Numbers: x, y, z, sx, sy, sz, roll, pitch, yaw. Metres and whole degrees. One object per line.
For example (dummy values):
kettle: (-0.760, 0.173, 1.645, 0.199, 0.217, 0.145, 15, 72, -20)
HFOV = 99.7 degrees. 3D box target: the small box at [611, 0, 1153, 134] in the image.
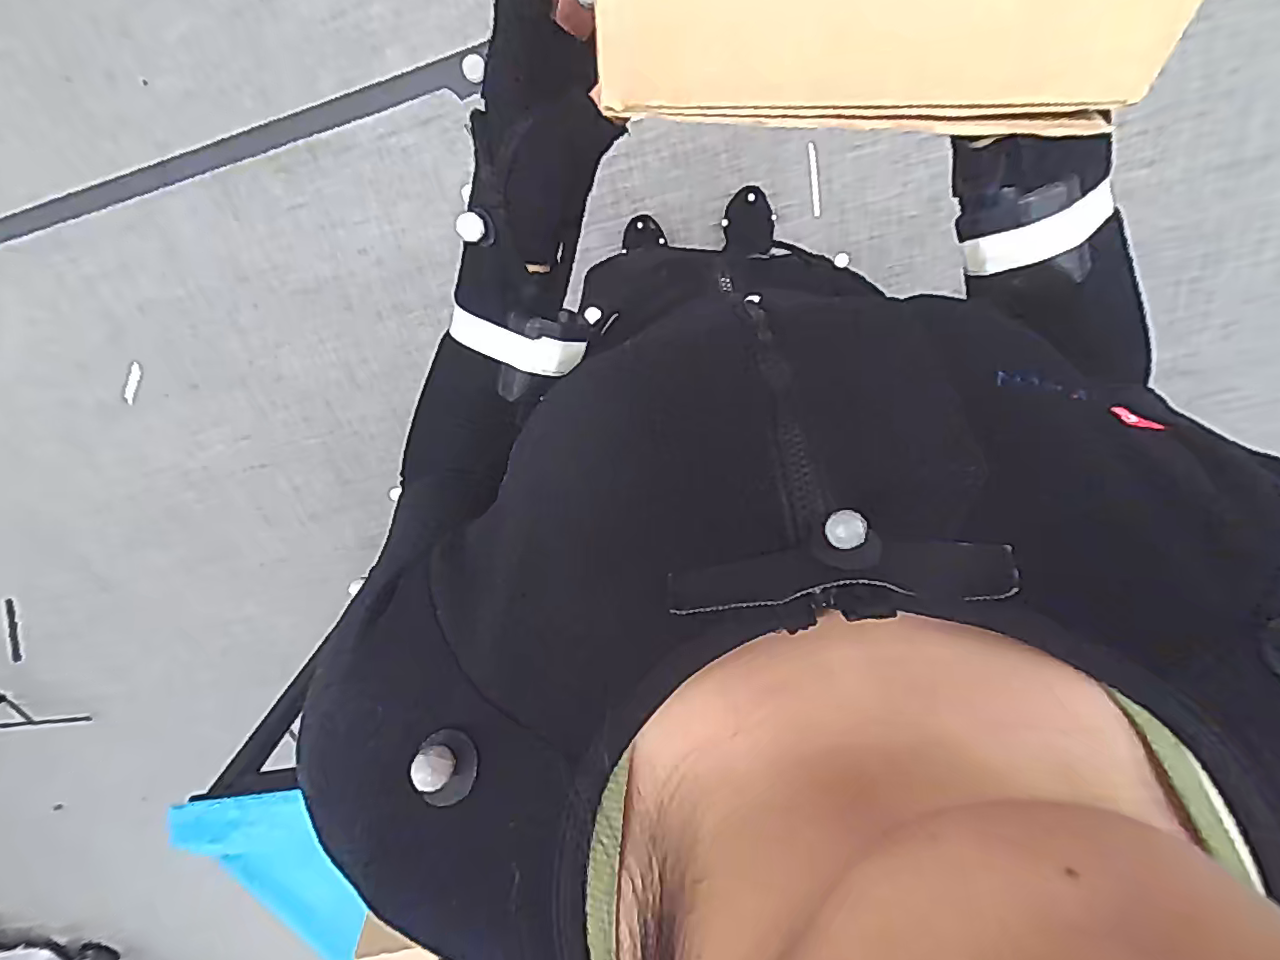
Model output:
small box: (0.075, -0.237, 0.169, 0.179, 0.168, 0.176, 0, 142, 3)

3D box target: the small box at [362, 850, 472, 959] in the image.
small box: (-0.502, 0.988, 1.223, 0.176, 0.179, 0.168, -8, 117, -1)
